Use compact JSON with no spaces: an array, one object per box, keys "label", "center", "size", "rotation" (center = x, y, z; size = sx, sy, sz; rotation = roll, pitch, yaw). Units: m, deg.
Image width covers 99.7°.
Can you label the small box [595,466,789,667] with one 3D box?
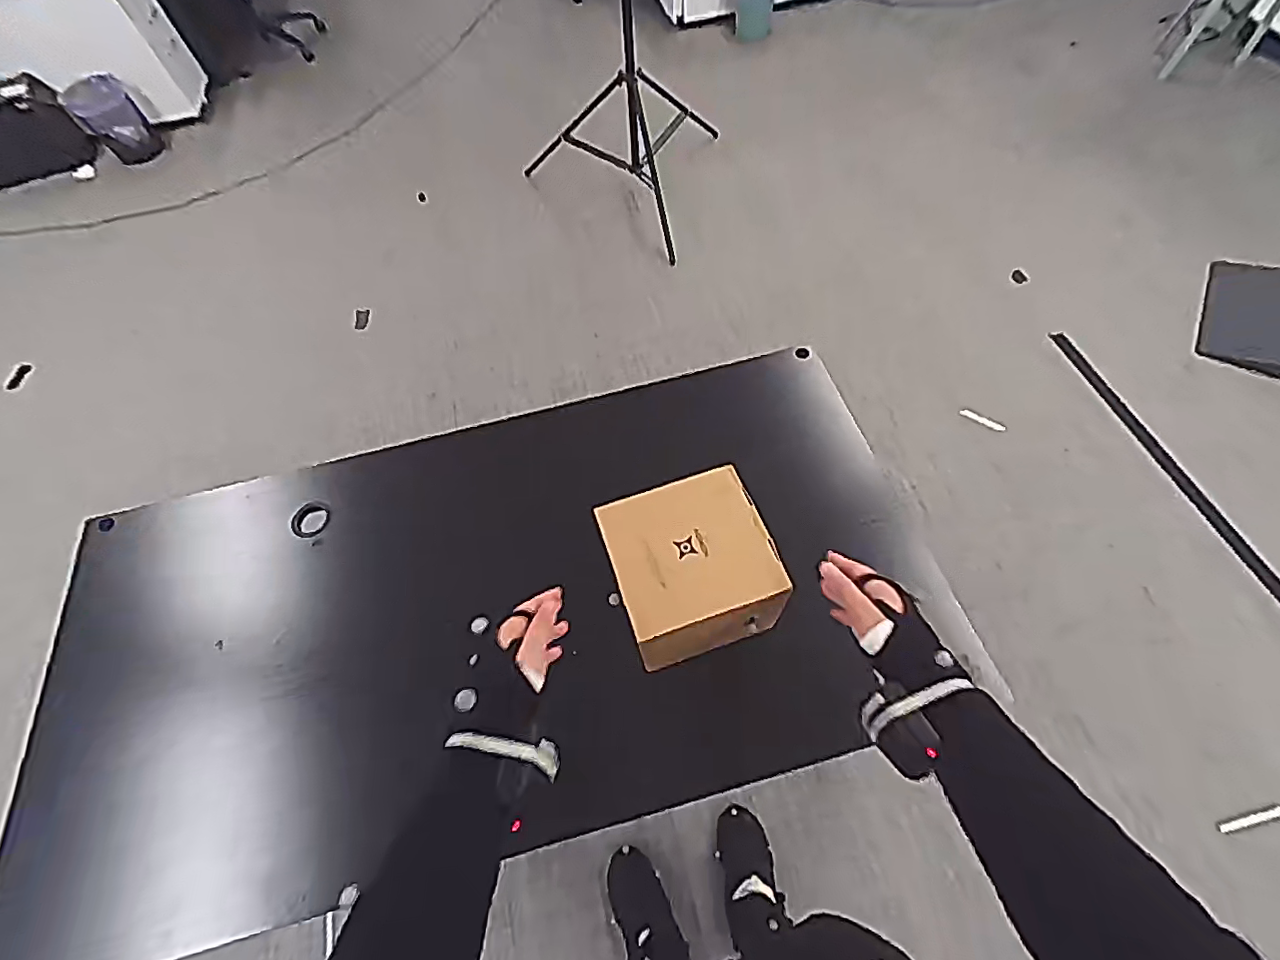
[{"label":"small box","center":[0.058,0.114,0.671],"size":[0.179,0.176,0.168],"rotation":[-19,60,-5]}]
